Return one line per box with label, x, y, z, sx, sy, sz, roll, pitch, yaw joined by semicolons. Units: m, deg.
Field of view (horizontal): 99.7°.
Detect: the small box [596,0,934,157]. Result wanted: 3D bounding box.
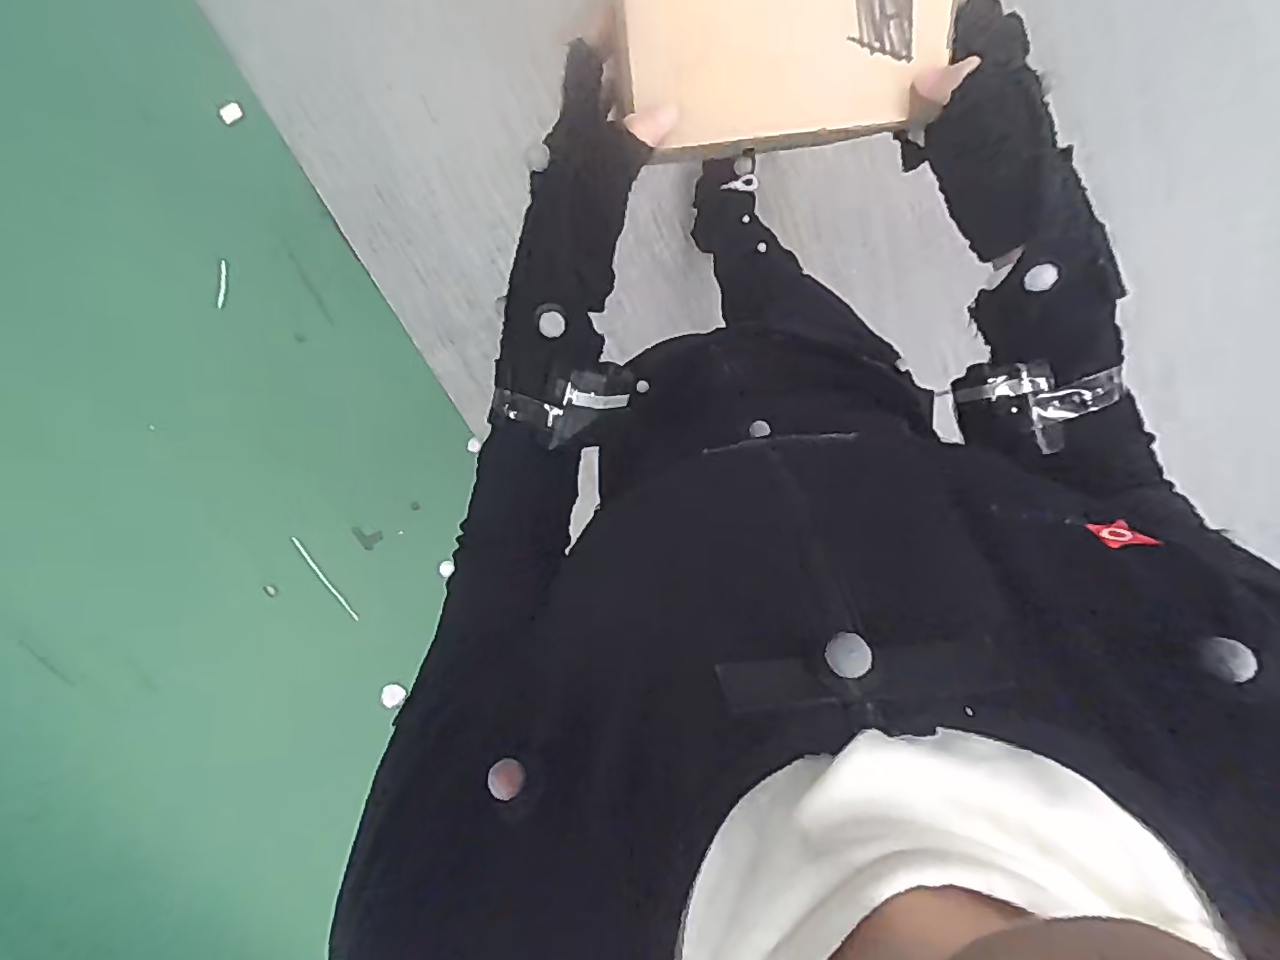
small box;0.064;-0.316;0.349;0.179;0.176;0.168;-8;117;-3
